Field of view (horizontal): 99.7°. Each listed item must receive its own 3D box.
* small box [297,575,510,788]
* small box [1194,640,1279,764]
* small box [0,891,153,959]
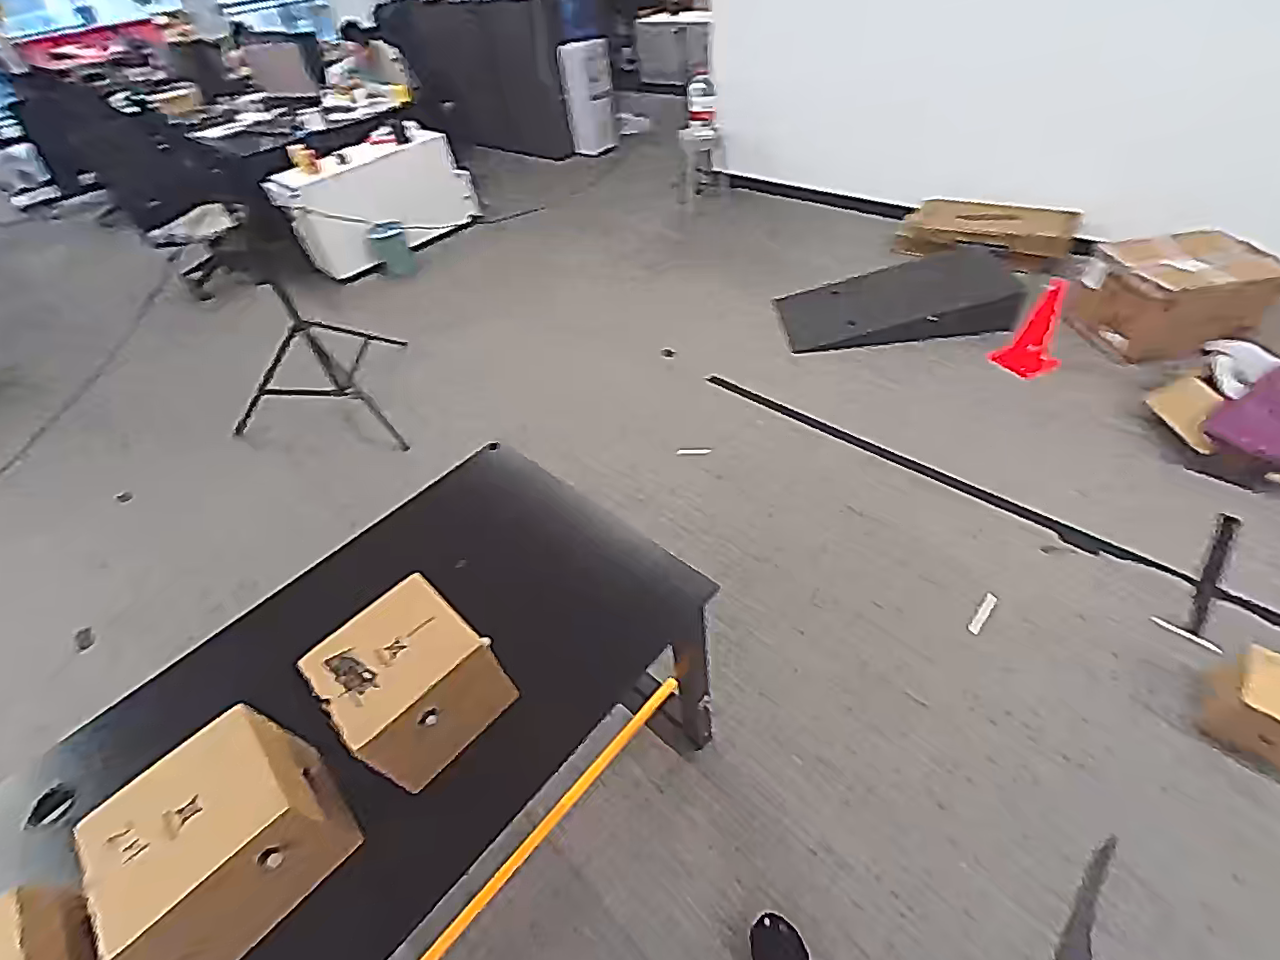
[{"bbox_3d":[-0.304,0.270,0.724,0.168,0.176,0.179,31,58,32],"label":"small box"},{"bbox_3d":[1.435,0.513,1.242,0.168,0.176,0.179,29,58,30],"label":"small box"},{"bbox_3d":[-0.607,0.545,0.513,0.179,0.176,0.168,31,59,31],"label":"small box"}]
